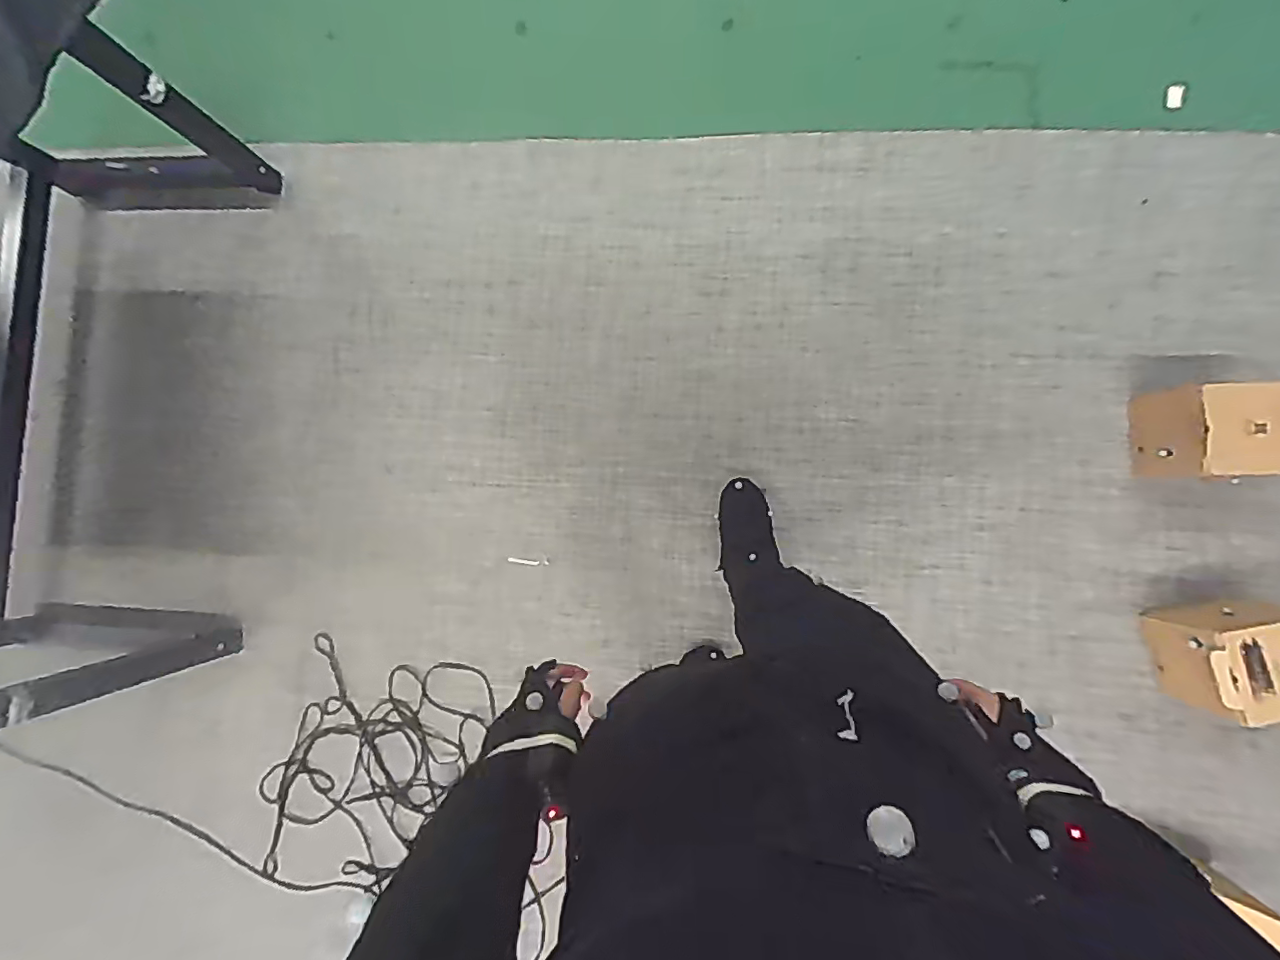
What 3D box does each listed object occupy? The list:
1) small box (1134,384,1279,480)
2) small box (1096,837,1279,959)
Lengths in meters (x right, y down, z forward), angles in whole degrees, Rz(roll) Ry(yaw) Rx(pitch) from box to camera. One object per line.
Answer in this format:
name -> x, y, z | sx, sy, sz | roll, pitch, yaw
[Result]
small box -> 1.095, -0.085, 1.033 | 0.179, 0.176, 0.168 | -1, 88, 5
small box -> 1.011, 0.807, 0.994 | 0.179, 0.176, 0.168 | 22, 90, 7
